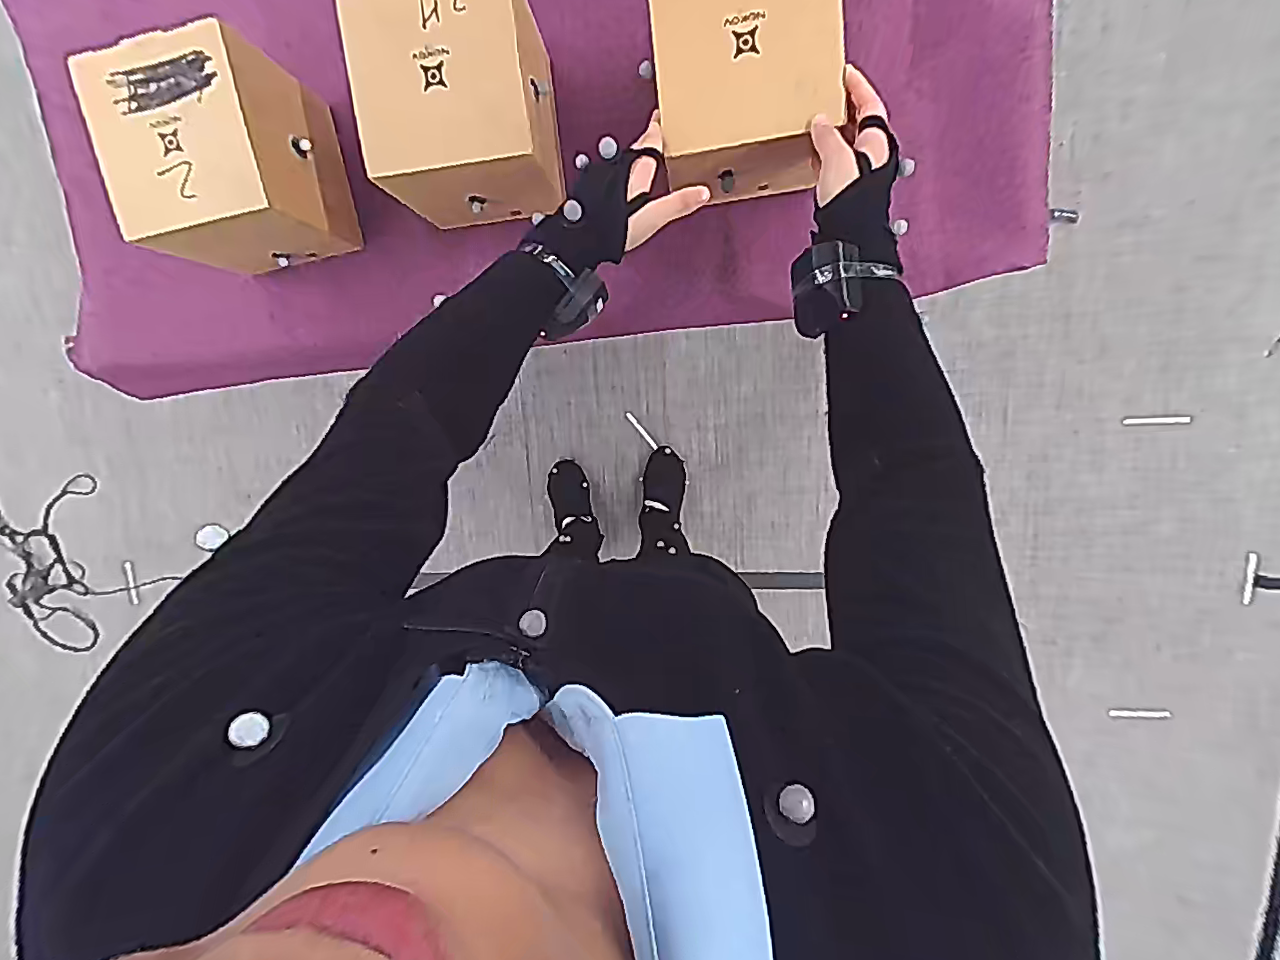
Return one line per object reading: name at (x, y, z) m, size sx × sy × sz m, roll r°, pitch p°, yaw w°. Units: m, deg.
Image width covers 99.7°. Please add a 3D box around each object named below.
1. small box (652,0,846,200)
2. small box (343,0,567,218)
small box at (0.107, -0.407, 0.555) m, size 0.168 × 0.176 × 0.179 m, roll -5°, pitch 99°, yaw 8°
small box at (-0.181, -0.397, 0.580) m, size 0.168 × 0.176 × 0.179 m, roll -5°, pitch 98°, yaw 4°
